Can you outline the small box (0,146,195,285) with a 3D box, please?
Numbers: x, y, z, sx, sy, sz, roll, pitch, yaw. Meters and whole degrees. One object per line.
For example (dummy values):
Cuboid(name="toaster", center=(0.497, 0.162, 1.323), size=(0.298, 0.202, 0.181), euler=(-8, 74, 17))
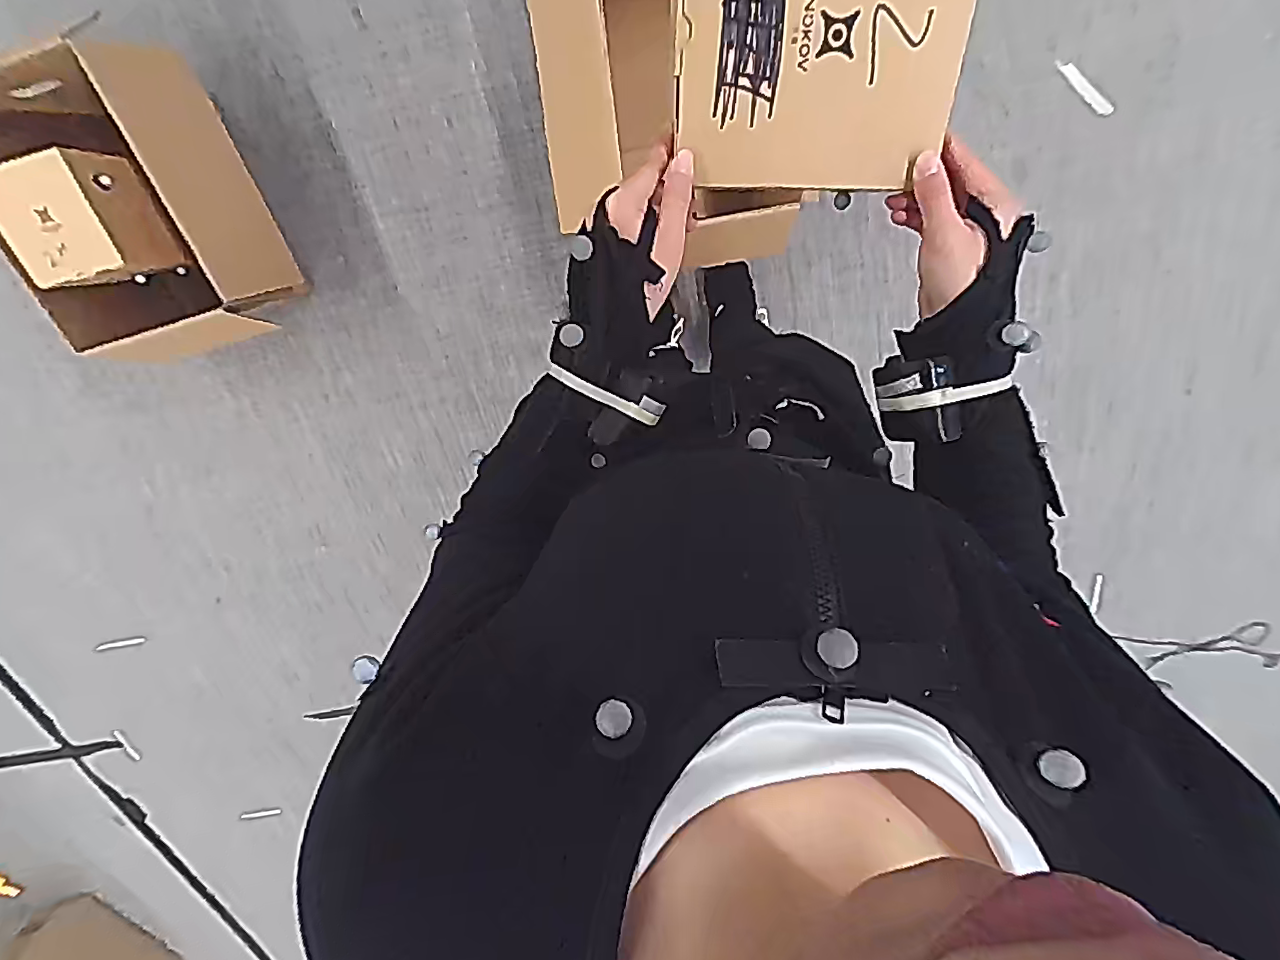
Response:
Cuboid(name="small box", center=(-0.946, -0.451, 0.938), size=(0.168, 0.176, 0.179), euler=(-12, 114, 5))
